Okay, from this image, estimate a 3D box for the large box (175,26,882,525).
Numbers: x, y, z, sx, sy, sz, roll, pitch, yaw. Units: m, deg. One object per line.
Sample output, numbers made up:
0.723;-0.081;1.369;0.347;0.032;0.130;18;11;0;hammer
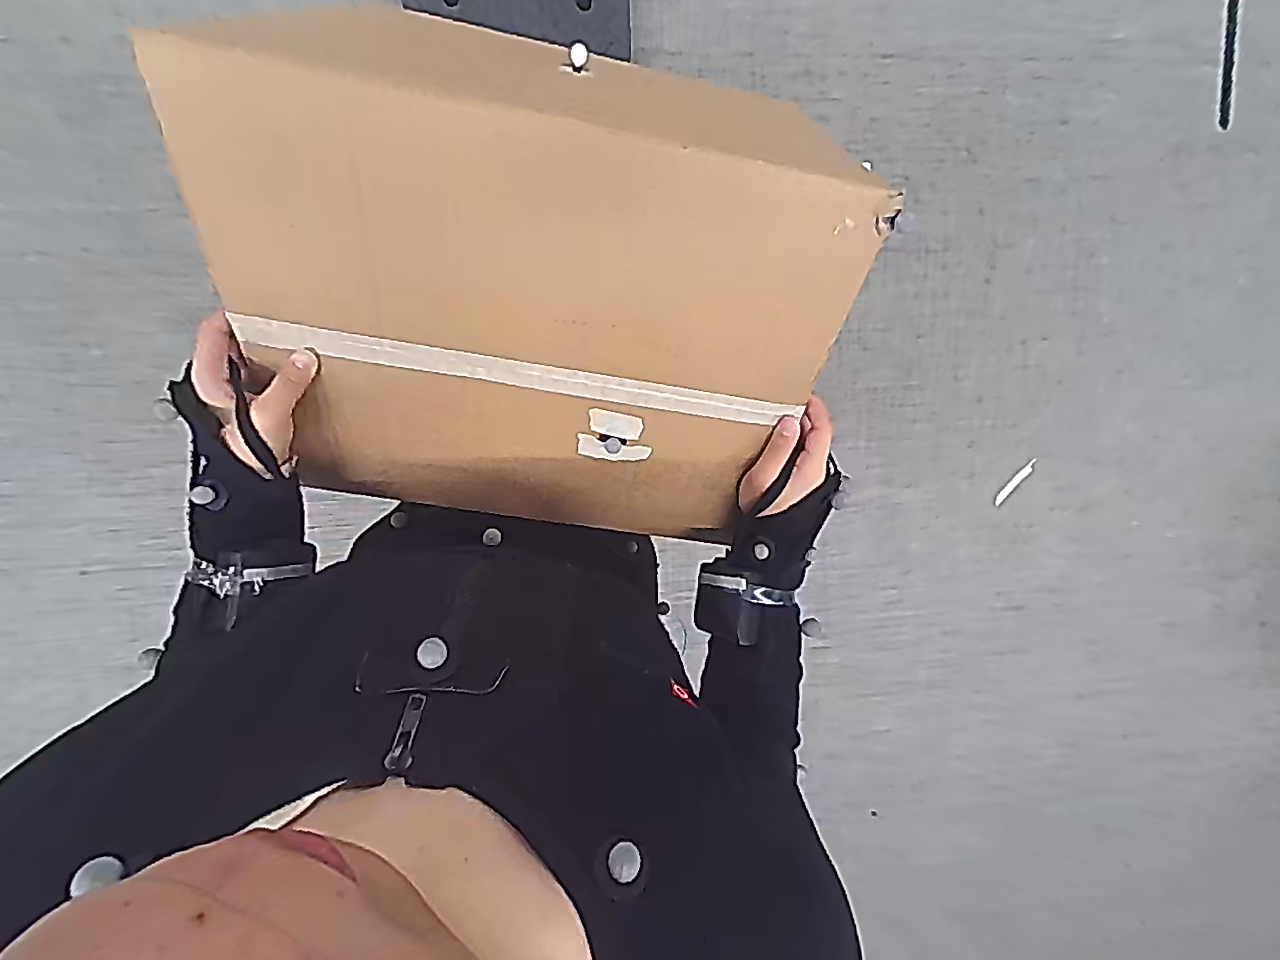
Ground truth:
-0.075;-0.189;0.510;0.408;0.320;0.320;7;134;-7;large box
